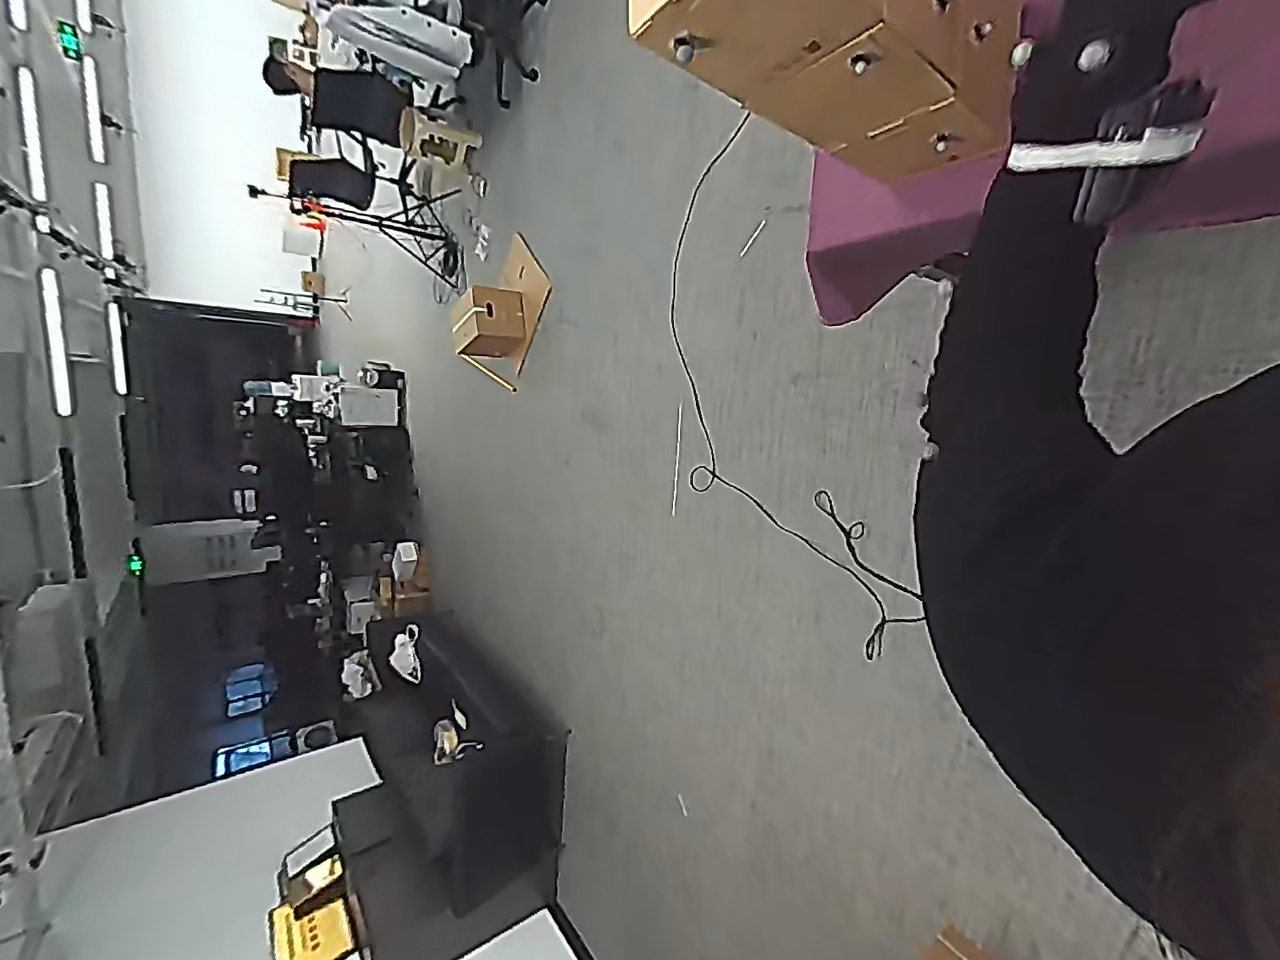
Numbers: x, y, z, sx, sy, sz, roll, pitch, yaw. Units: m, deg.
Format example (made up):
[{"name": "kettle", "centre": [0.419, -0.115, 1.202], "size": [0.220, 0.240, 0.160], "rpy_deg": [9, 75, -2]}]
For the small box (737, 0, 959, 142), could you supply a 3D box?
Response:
[{"name": "small box", "centre": [0.230, -0.517, 0.604], "size": [0.179, 0.176, 0.168], "rpy_deg": [6, 98, 50]}]

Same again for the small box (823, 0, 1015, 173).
[{"name": "small box", "centre": [0.360, -0.525, 0.701], "size": [0.168, 0.176, 0.179], "rpy_deg": [9, 100, 51]}]
